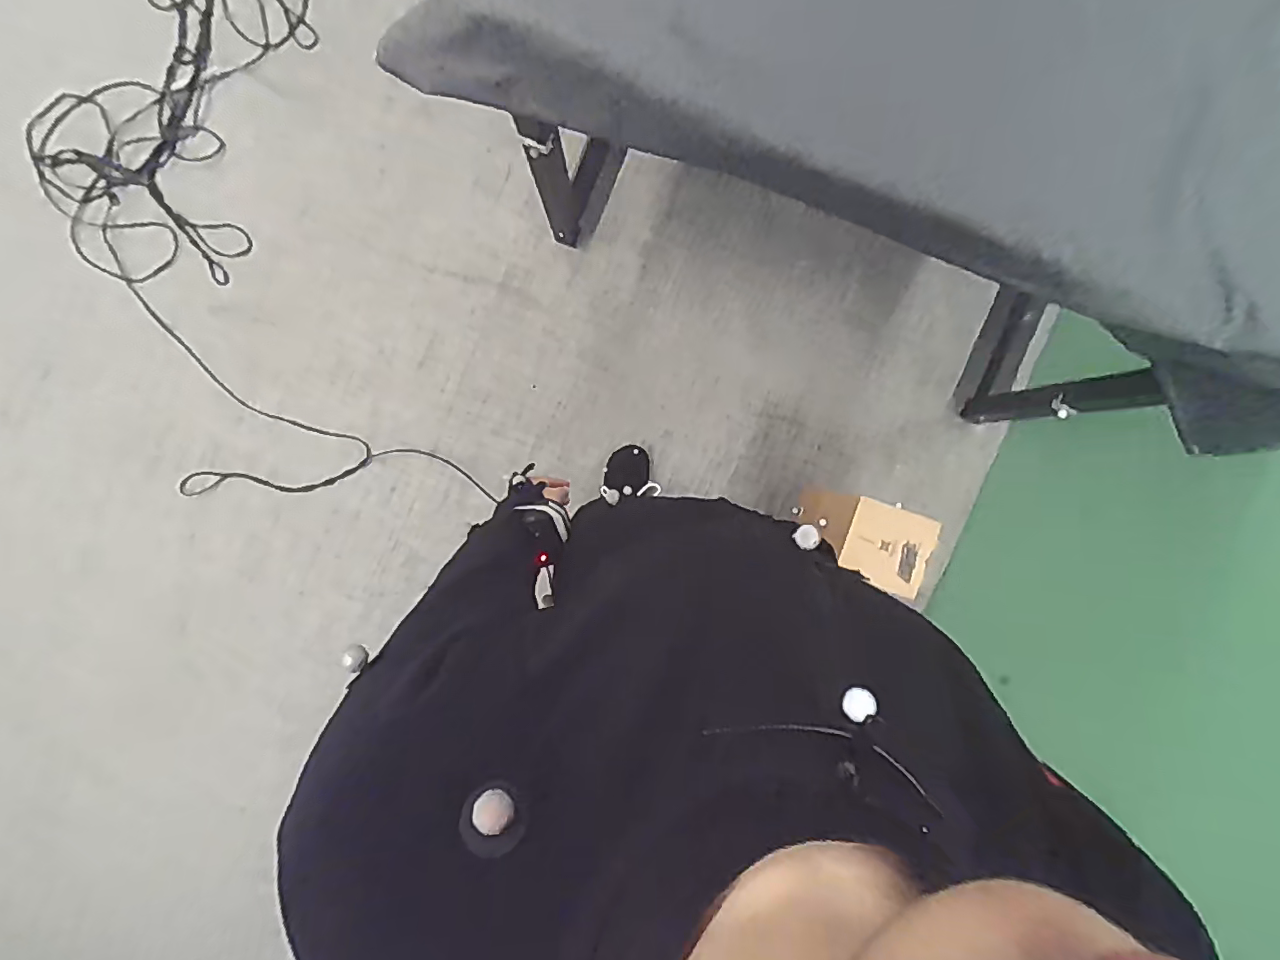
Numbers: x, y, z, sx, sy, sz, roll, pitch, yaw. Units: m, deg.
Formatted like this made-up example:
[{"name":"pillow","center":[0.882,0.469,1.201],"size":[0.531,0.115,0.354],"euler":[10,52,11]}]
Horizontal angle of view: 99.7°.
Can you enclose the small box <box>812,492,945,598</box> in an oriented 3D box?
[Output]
[{"name":"small box","center":[0.493,0.127,1.142],"size":[0.179,0.176,0.168],"euler":[19,91,-1]}]

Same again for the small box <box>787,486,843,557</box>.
[{"name":"small box","center":[0.482,0.118,1.305],"size":[0.179,0.176,0.168],"euler":[20,92,-1]}]
